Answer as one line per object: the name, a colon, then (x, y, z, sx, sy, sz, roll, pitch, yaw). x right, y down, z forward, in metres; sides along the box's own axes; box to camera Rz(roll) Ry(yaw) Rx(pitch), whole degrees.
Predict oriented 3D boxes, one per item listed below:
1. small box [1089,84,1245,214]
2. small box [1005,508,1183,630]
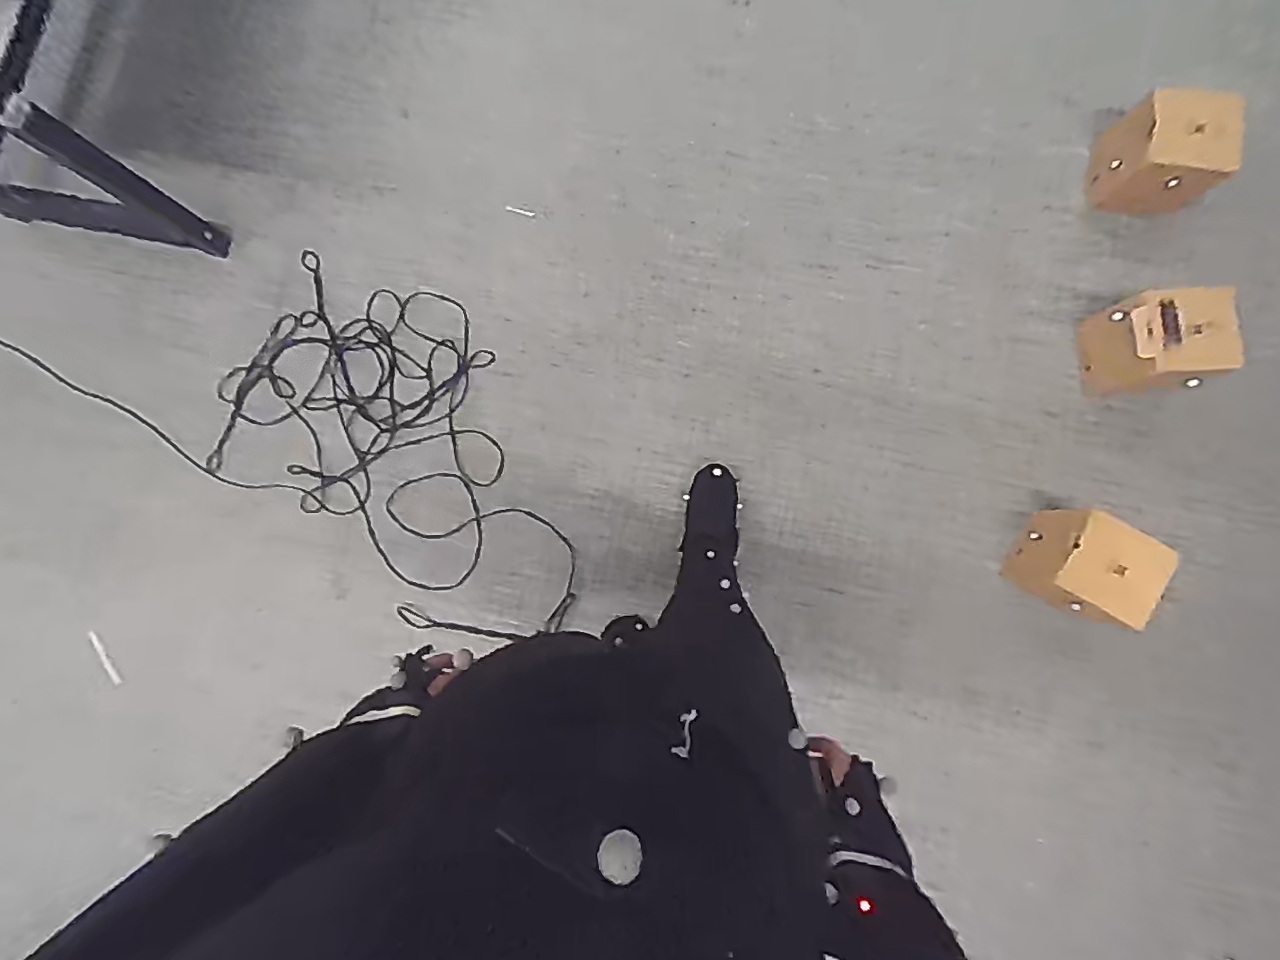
small box: (1.112, -0.696, 1.154, 0.179, 0.176, 0.168, 9, 86, 2)
small box: (0.886, 0.169, 1.074, 0.179, 0.176, 0.168, 31, 86, 5)
